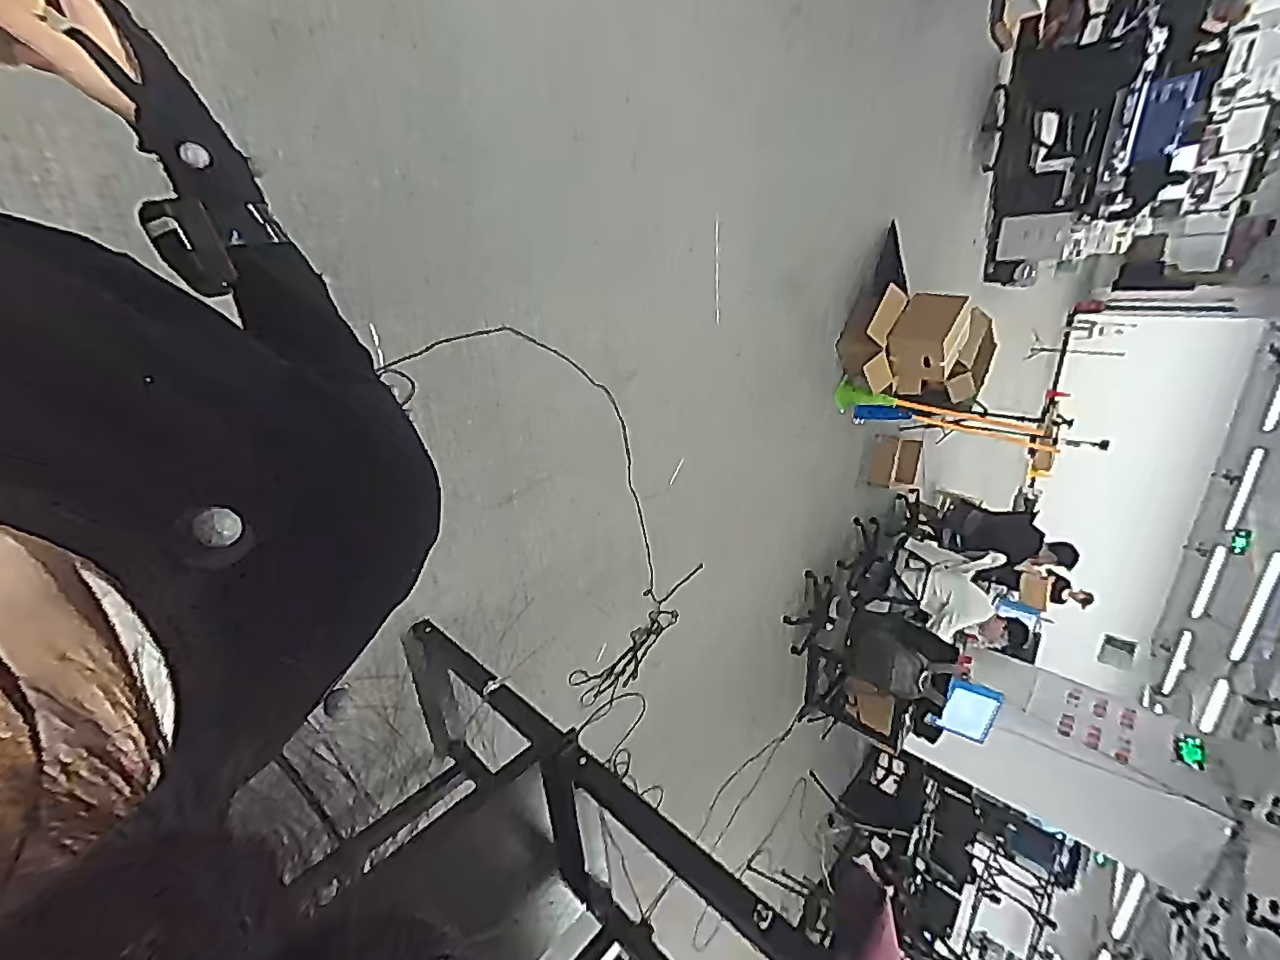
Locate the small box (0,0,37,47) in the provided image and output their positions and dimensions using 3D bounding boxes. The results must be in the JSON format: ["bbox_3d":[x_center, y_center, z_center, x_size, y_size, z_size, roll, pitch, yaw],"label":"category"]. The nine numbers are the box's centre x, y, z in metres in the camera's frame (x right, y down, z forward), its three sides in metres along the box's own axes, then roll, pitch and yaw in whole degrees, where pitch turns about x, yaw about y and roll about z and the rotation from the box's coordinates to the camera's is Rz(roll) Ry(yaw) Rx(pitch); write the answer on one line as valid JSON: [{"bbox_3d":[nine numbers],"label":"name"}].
[{"bbox_3d":[-0.457,-0.361,0.275,0.168,0.176,0.179,-21,121,-46],"label":"small box"}]
